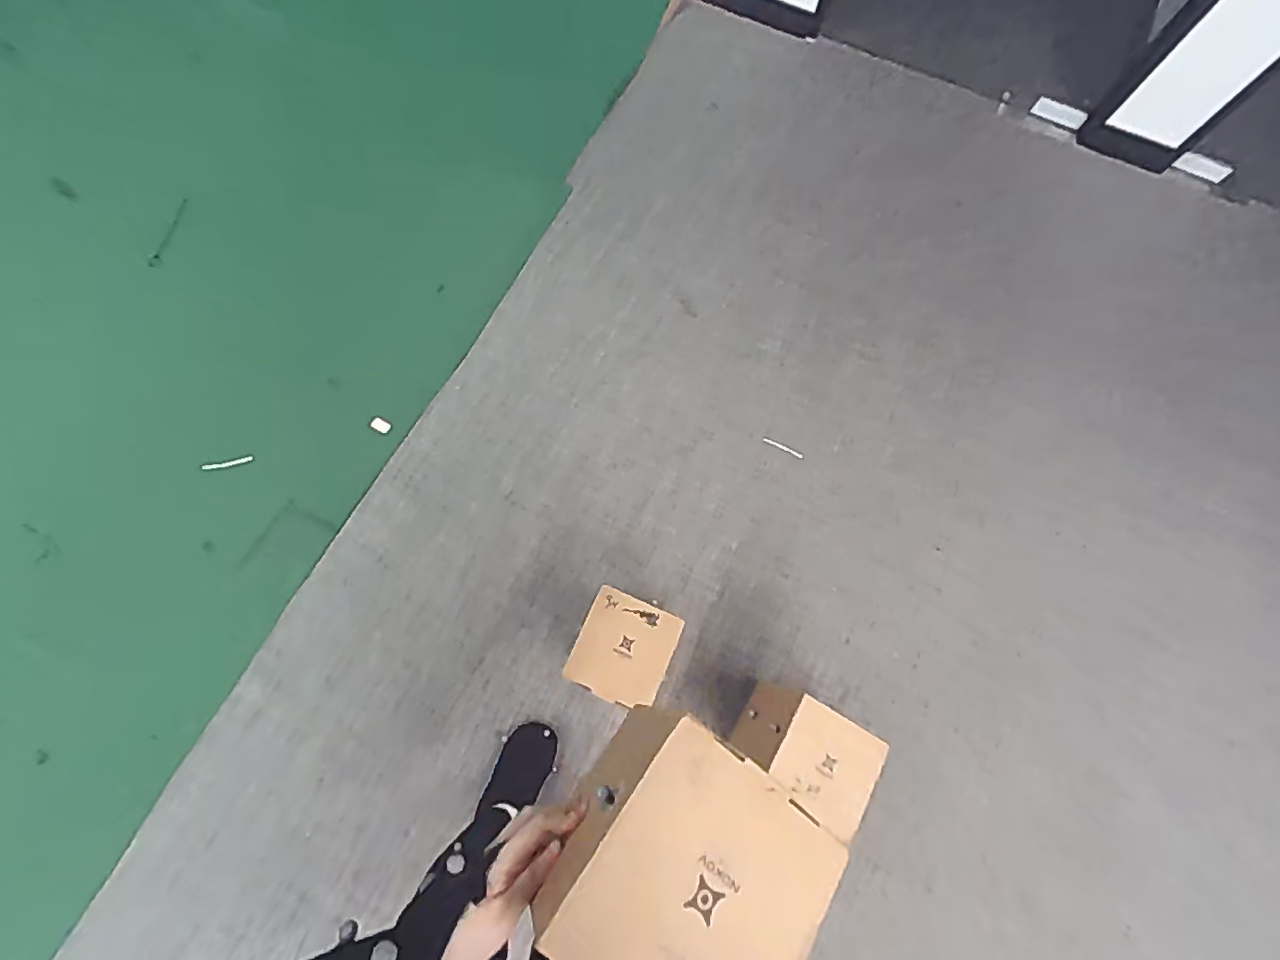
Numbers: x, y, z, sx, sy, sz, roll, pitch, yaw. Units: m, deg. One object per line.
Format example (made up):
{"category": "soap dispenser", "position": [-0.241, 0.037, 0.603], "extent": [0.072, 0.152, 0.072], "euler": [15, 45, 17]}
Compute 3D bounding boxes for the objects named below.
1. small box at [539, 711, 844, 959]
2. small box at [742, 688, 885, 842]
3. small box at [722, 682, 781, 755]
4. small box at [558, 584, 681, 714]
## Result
{"category": "small box", "position": [0.028, 0.319, 0.458], "extent": [0.168, 0.176, 0.179], "euler": [39, 66, 2]}
{"category": "small box", "position": [0.303, 0.500, 0.982], "extent": [0.168, 0.176, 0.179], "euler": [30, 75, 6]}
{"category": "small box", "position": [0.290, 0.547, 1.139], "extent": [0.168, 0.176, 0.179], "euler": [32, 76, 6]}
{"category": "small box", "position": [-0.035, 0.316, 1.018], "extent": [0.168, 0.176, 0.179], "euler": [24, 74, 4]}
